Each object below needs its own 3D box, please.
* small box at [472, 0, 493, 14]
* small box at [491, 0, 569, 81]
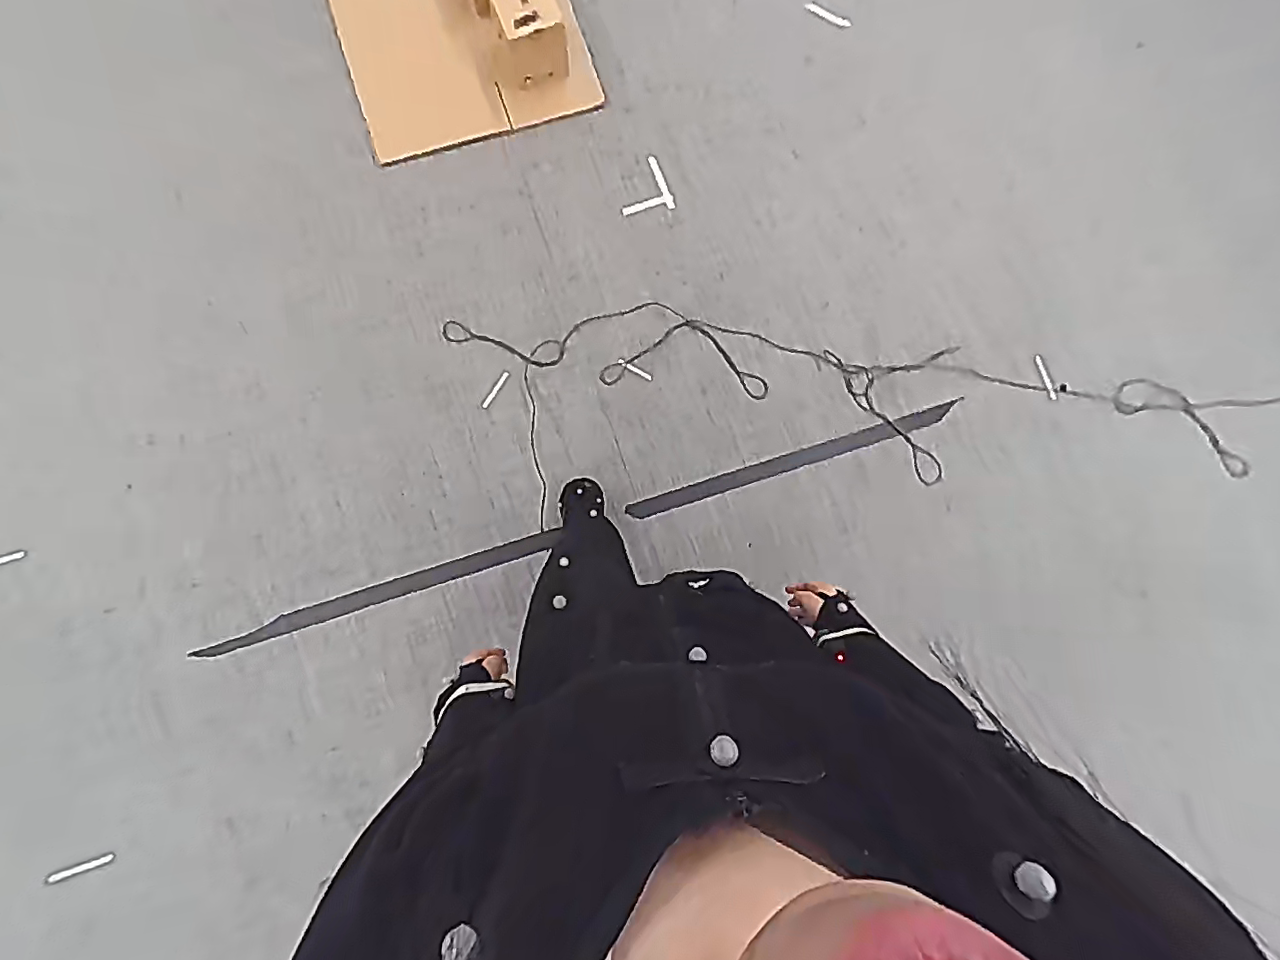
[{"bbox_3d":[-0.434,-1.512,1.560,0.179,0.176,0.168,-24,84,-4],"label":"small box"},{"bbox_3d":[-0.310,-1.284,1.539,0.168,0.176,0.179,-22,85,-5],"label":"small box"}]
